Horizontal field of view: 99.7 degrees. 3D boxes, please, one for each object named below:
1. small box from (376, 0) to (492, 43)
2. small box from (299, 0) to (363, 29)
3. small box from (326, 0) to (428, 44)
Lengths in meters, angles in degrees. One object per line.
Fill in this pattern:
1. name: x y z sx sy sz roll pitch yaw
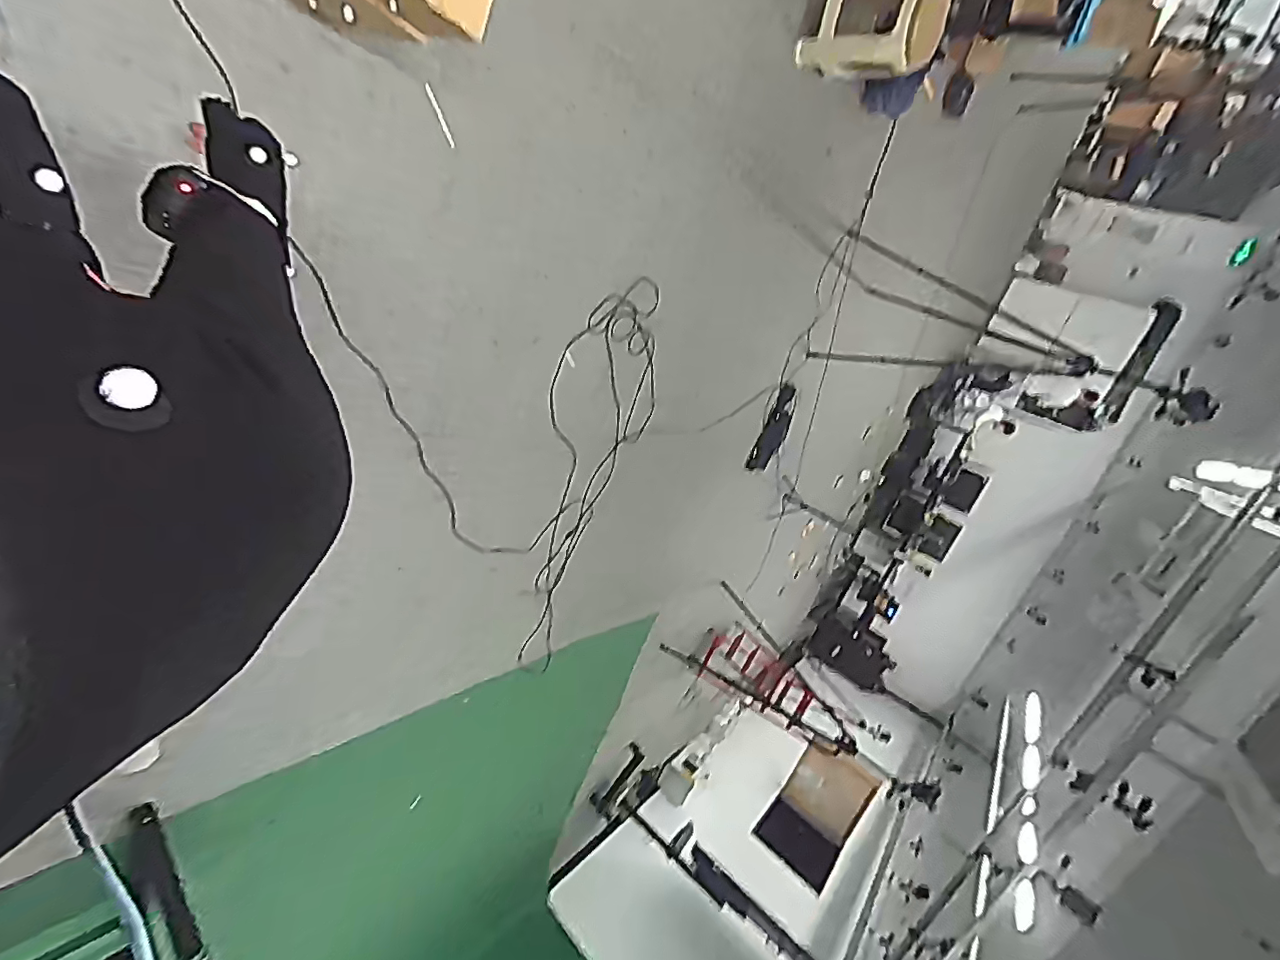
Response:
1. small box: -0.341 -0.840 0.851 0.168 0.176 0.179 -1 119 -55
2. small box: -0.587 -0.984 1.012 0.179 0.176 0.168 -2 119 -55
3. small box: -0.463 -0.907 0.935 0.168 0.176 0.179 -1 119 -56
